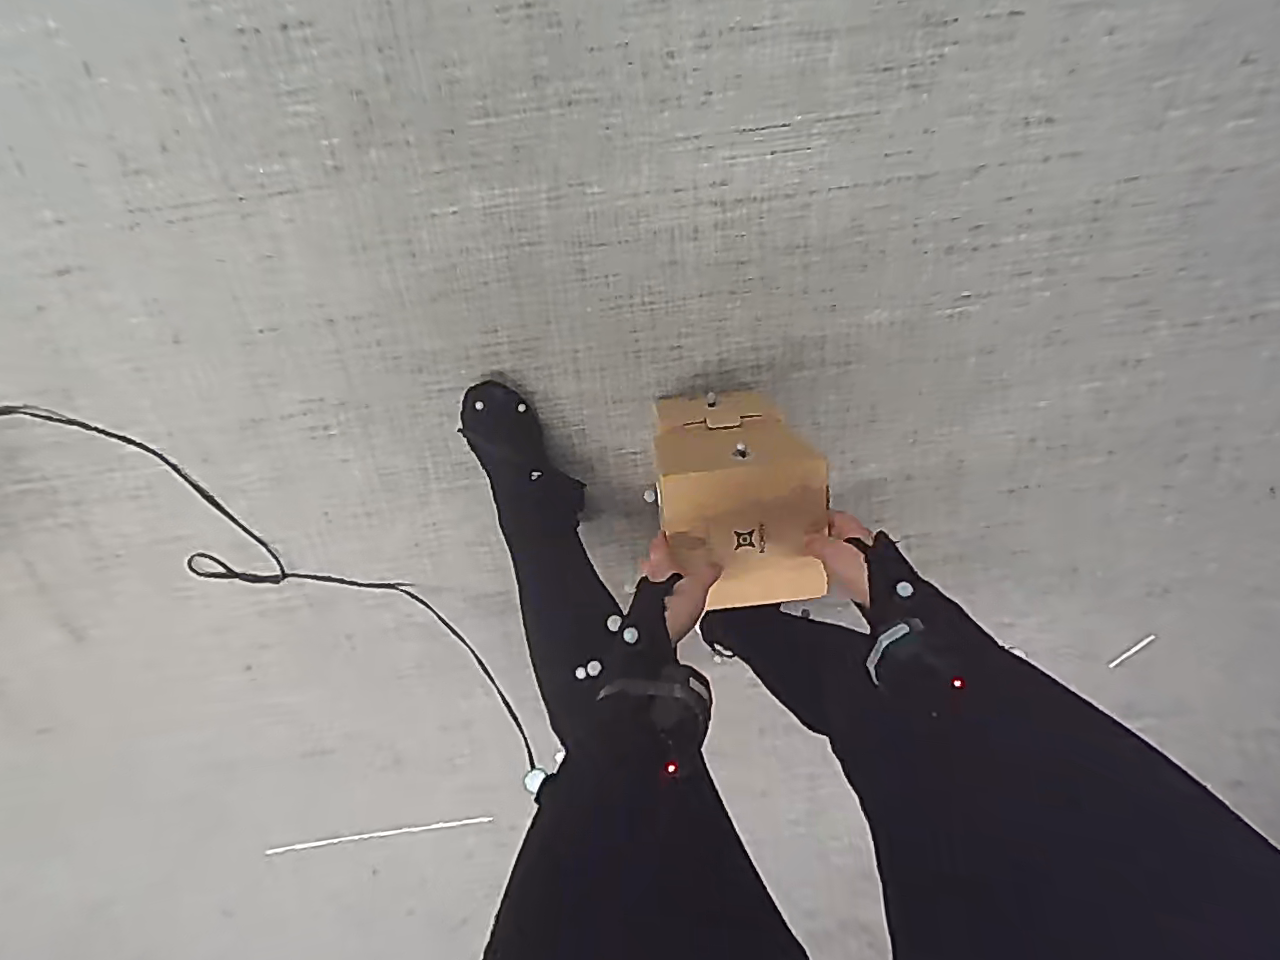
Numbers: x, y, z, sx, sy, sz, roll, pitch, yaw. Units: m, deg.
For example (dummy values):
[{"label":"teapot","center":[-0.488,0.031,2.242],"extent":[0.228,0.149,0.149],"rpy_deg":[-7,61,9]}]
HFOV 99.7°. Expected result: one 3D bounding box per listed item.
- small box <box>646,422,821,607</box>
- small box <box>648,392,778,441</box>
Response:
[{"label":"small box","center":[0.105,0.031,0.659],"extent":[0.179,0.176,0.168],"rpy_deg":[-7,108,1]},{"label":"small box","center":[0.105,-0.031,0.813],"extent":[0.168,0.176,0.179],"rpy_deg":[-7,110,0]}]
